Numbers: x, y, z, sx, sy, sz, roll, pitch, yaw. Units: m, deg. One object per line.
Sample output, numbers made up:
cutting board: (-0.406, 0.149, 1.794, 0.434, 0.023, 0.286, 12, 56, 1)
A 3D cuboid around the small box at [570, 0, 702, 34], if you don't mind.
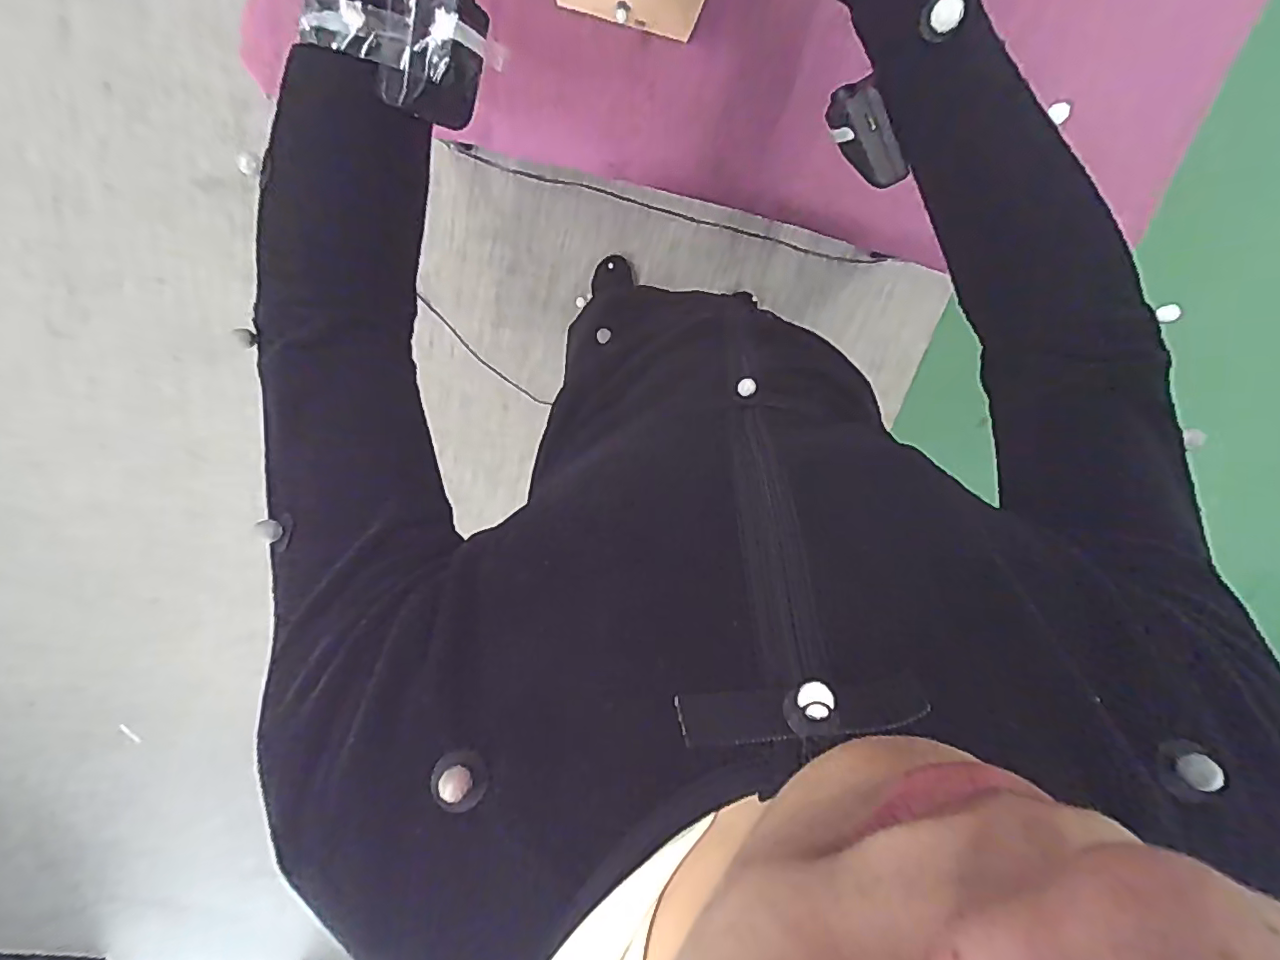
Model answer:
small box: (0.005, -0.610, 0.553, 0.168, 0.176, 0.179, 10, 113, -8)
